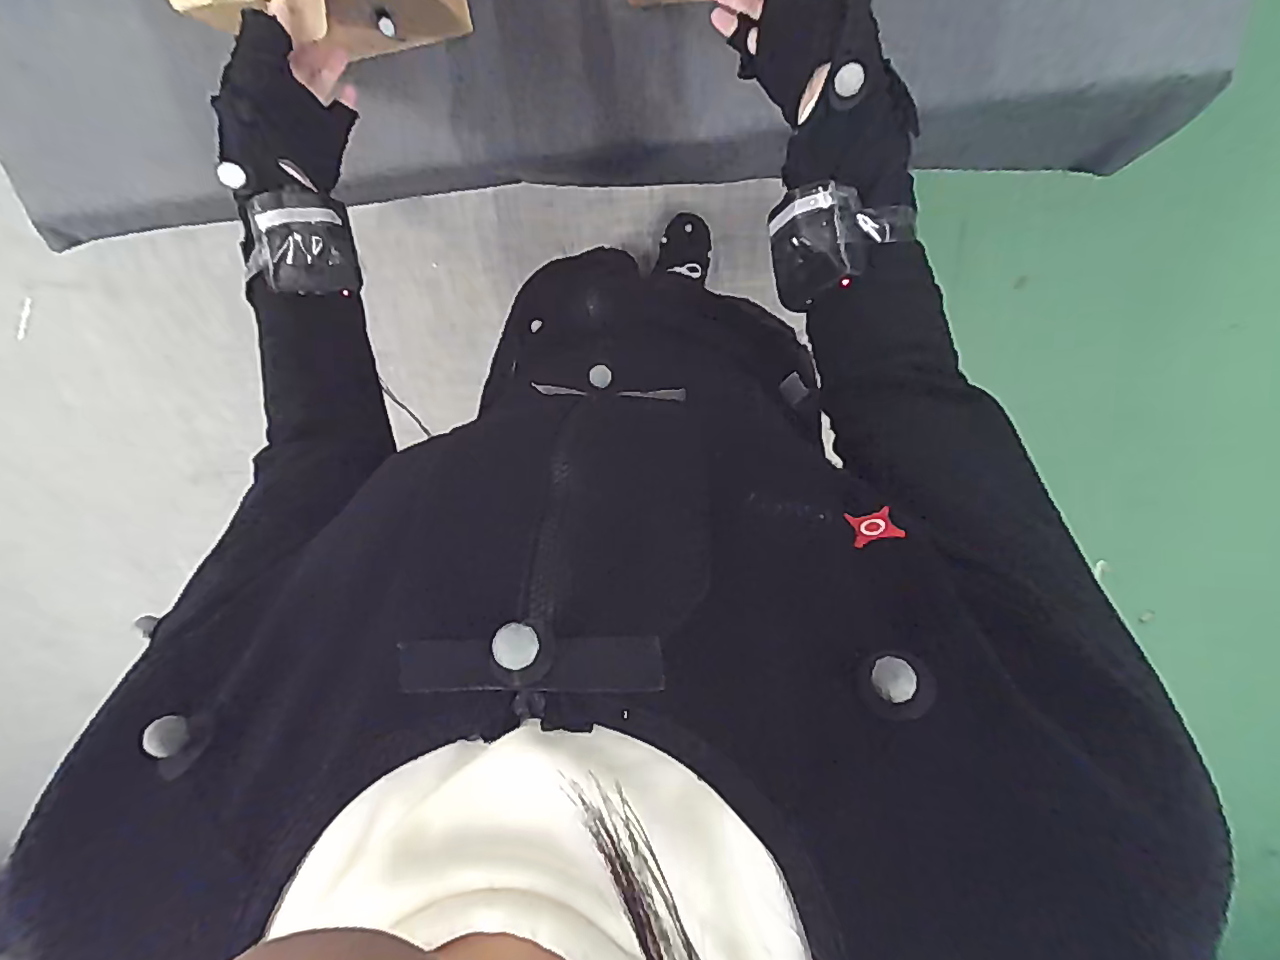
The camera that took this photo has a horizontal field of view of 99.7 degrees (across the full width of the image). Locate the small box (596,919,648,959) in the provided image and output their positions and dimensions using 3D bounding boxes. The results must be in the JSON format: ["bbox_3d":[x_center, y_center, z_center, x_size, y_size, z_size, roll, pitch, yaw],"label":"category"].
[{"bbox_3d":[-0.068,1.738,1.961,0.179,0.176,0.168,3,113,3],"label":"small box"}]

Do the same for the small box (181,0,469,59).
[{"bbox_3d":[-0.251,-0.452,0.409,0.168,0.176,0.179,-7,114,7],"label":"small box"}]
